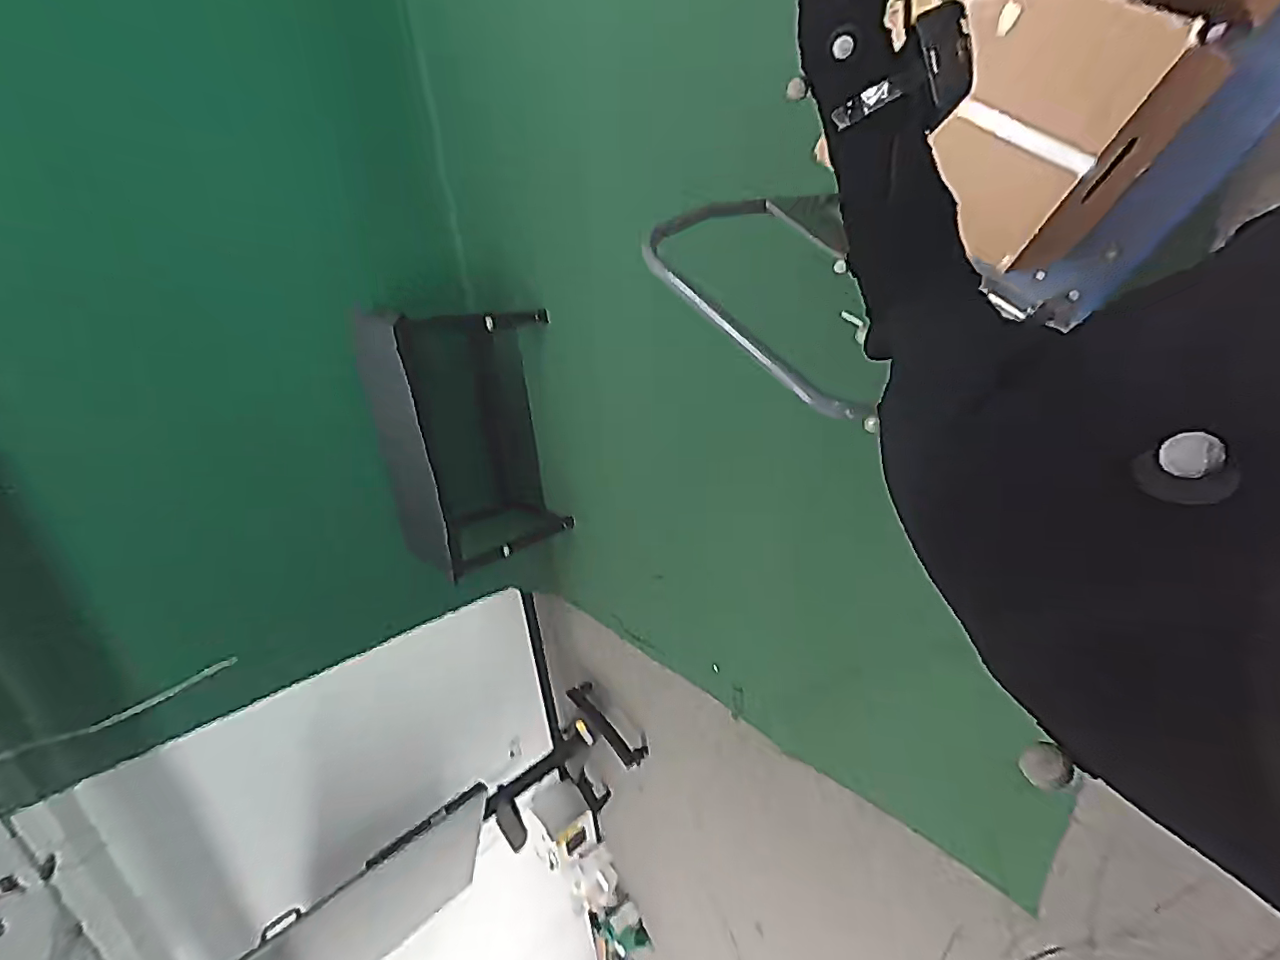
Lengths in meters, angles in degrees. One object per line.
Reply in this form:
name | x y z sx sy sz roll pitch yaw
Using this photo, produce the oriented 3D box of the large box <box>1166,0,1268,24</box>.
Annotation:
large box | 0.690 -0.845 0.663 0.408 0.320 0.320 49 140 23
